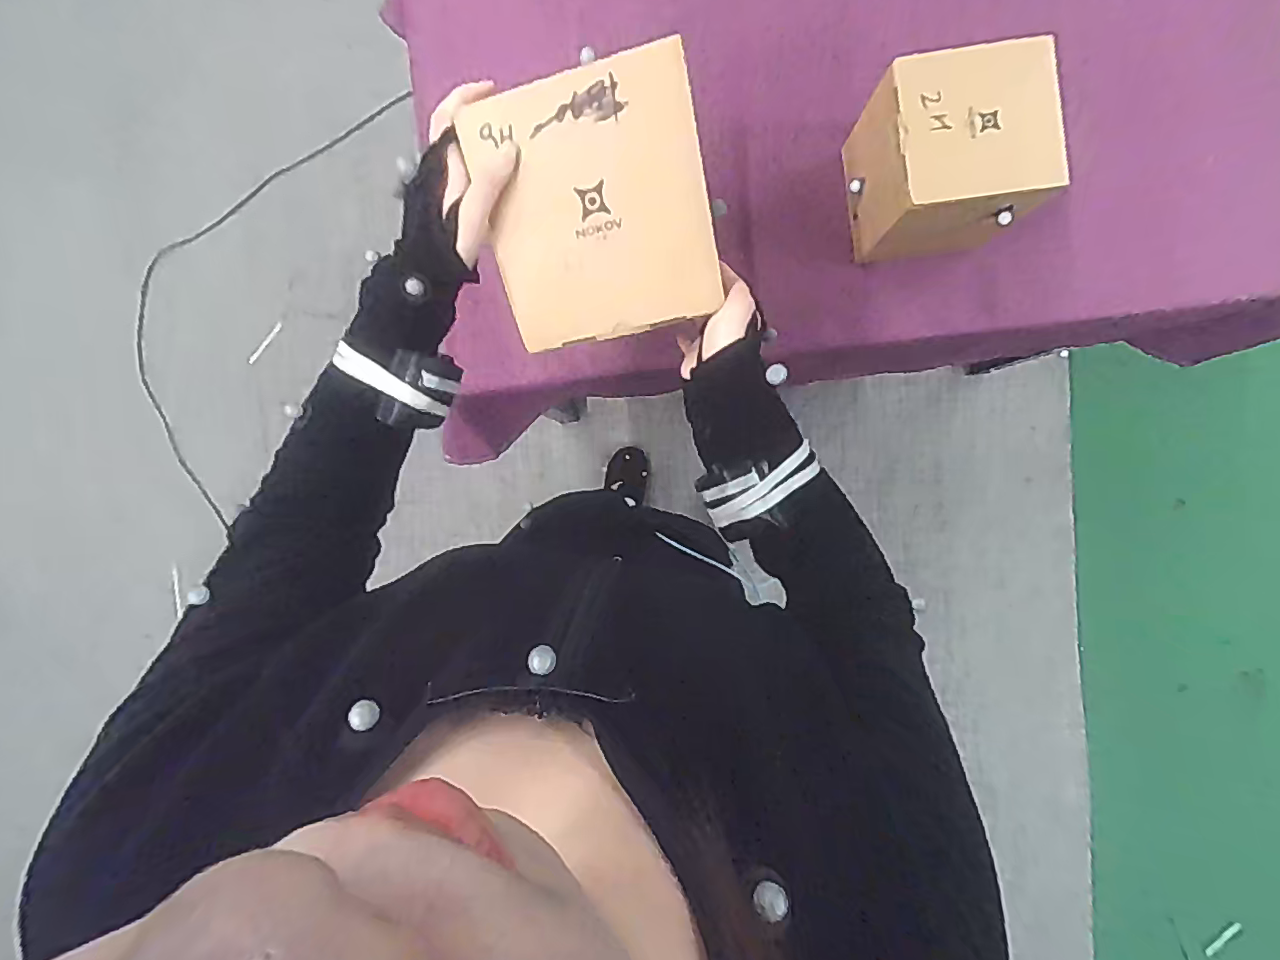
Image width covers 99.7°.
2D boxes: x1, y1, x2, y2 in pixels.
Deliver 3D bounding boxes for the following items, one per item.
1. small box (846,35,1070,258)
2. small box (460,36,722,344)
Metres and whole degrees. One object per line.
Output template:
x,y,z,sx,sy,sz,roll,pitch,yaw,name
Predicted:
0.377,-0.394,0.669,0.179,0.176,0.168,-6,91,3,small box
-0.022,-0.235,0.469,0.168,0.176,0.179,-9,114,11,small box
